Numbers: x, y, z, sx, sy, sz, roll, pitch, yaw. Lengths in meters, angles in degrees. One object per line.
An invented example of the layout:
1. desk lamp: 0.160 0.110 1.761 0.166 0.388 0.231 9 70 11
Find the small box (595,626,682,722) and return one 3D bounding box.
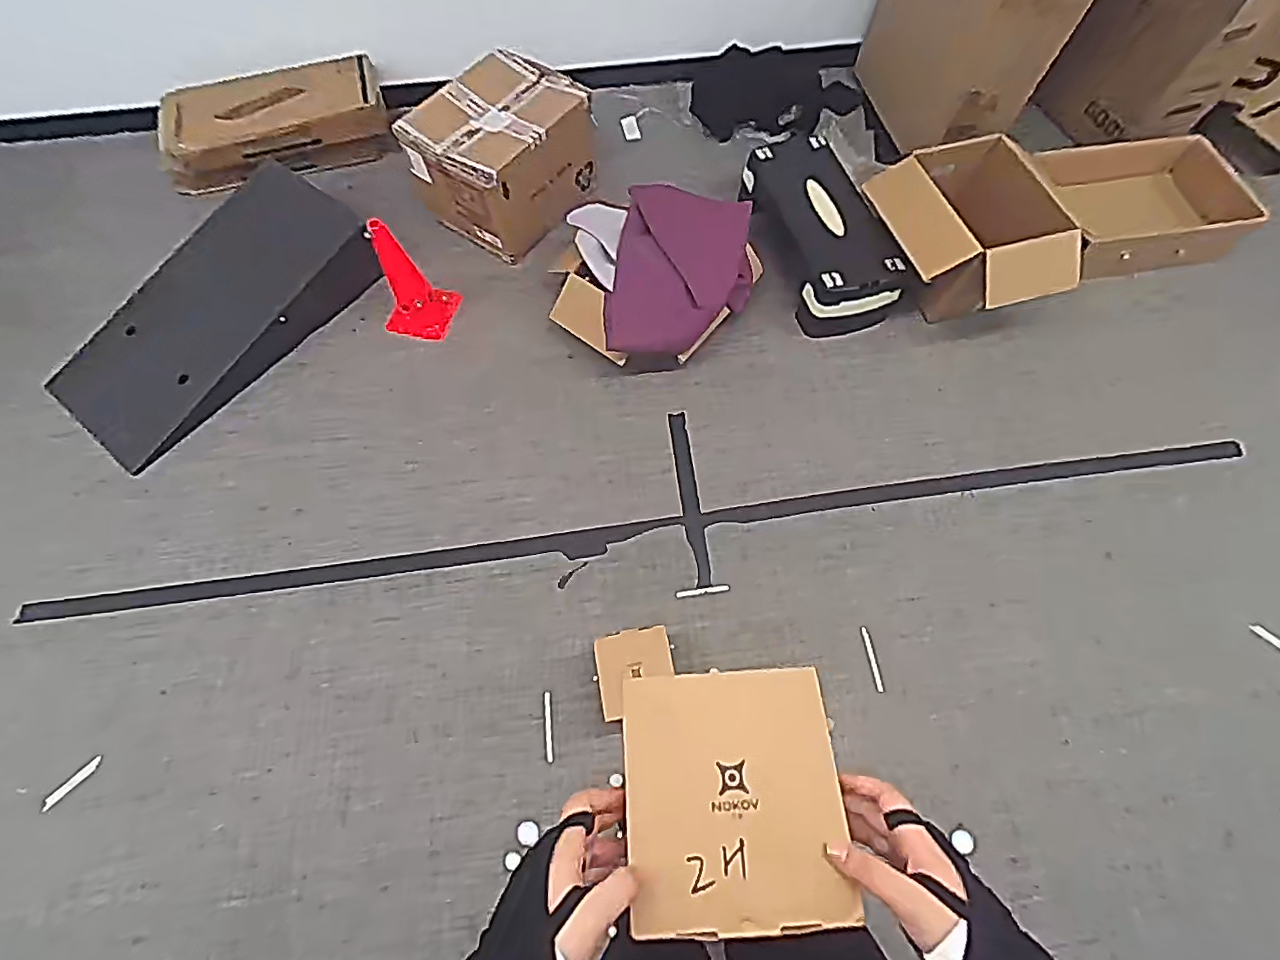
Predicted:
1. small box: -0.005 0.447 1.239 0.168 0.176 0.179 -11 68 -3
